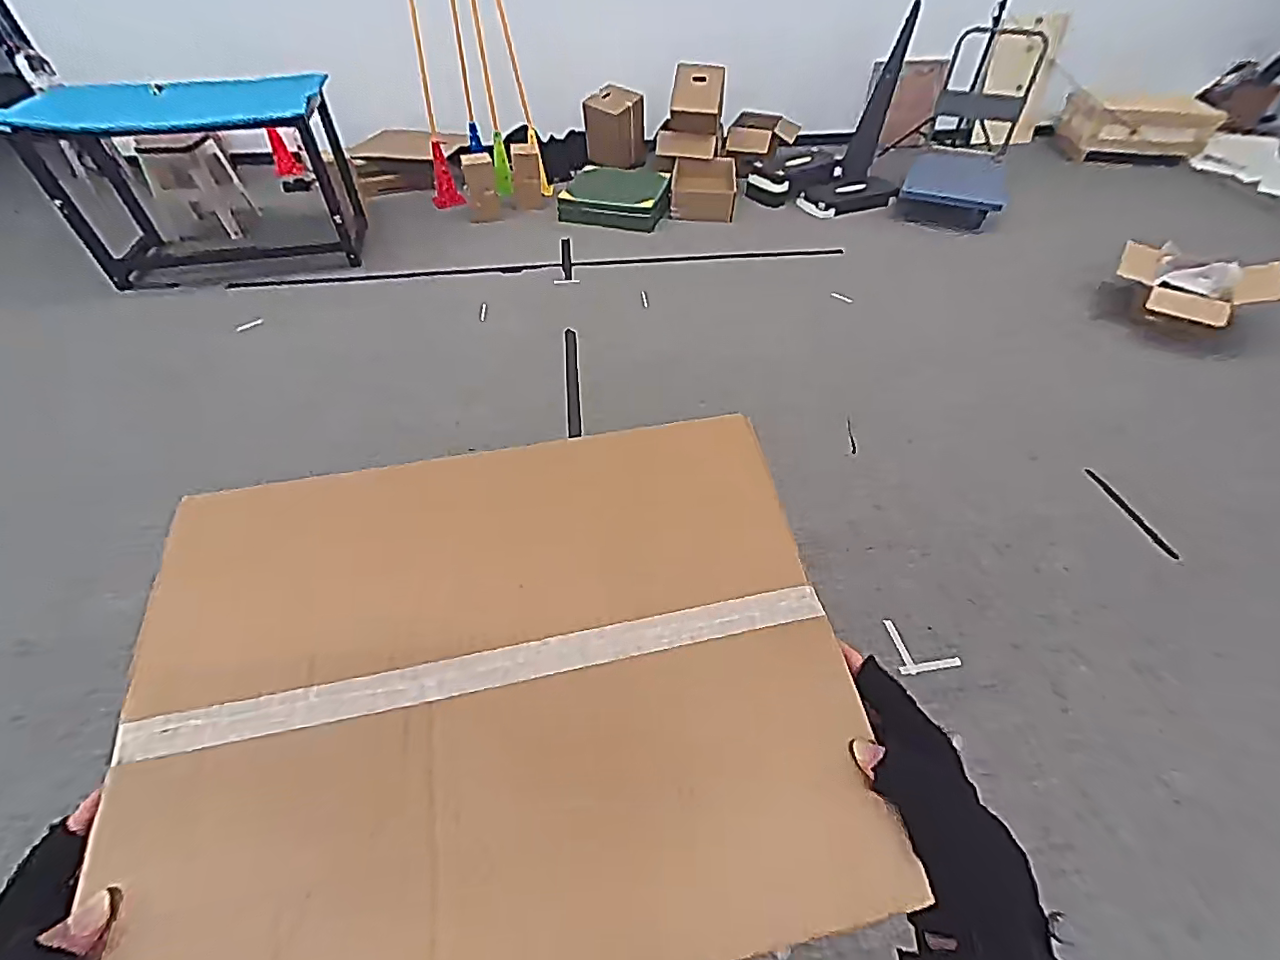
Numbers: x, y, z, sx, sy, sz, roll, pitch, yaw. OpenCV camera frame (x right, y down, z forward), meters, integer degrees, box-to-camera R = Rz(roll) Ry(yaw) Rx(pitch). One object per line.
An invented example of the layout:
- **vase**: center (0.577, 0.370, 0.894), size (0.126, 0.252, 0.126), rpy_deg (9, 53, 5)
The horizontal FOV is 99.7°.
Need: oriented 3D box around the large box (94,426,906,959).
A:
- **large box**: center (-0.086, 0.194, 0.454), size (0.408, 0.320, 0.320), rpy_deg (-10, 60, -7)
